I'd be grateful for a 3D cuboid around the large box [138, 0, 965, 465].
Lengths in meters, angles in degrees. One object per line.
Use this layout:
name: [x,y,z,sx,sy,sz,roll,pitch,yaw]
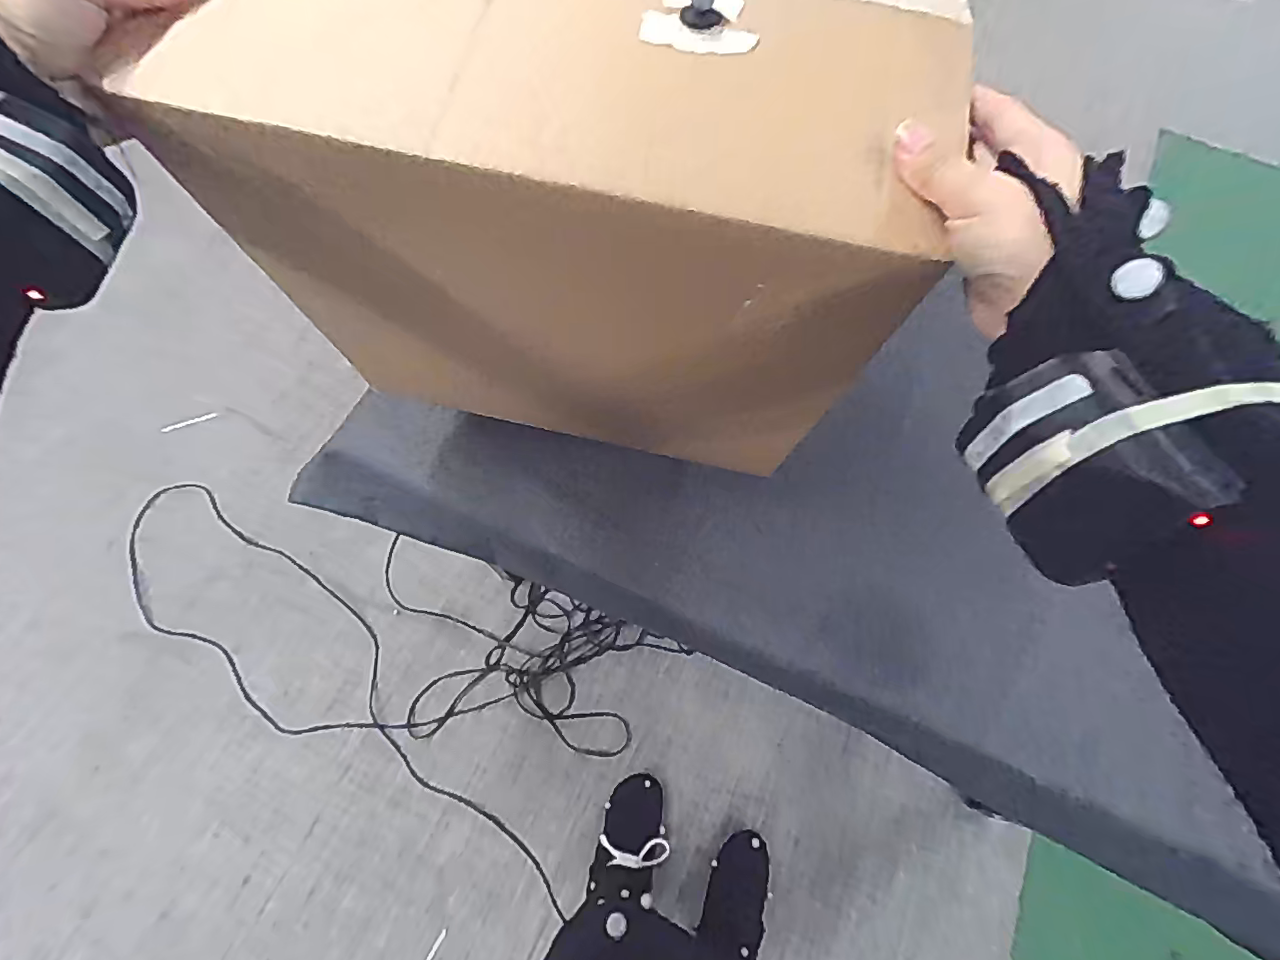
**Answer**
large box: [-0.027,-0.235,0.441,0.408,0.320,0.320,12,73,0]
